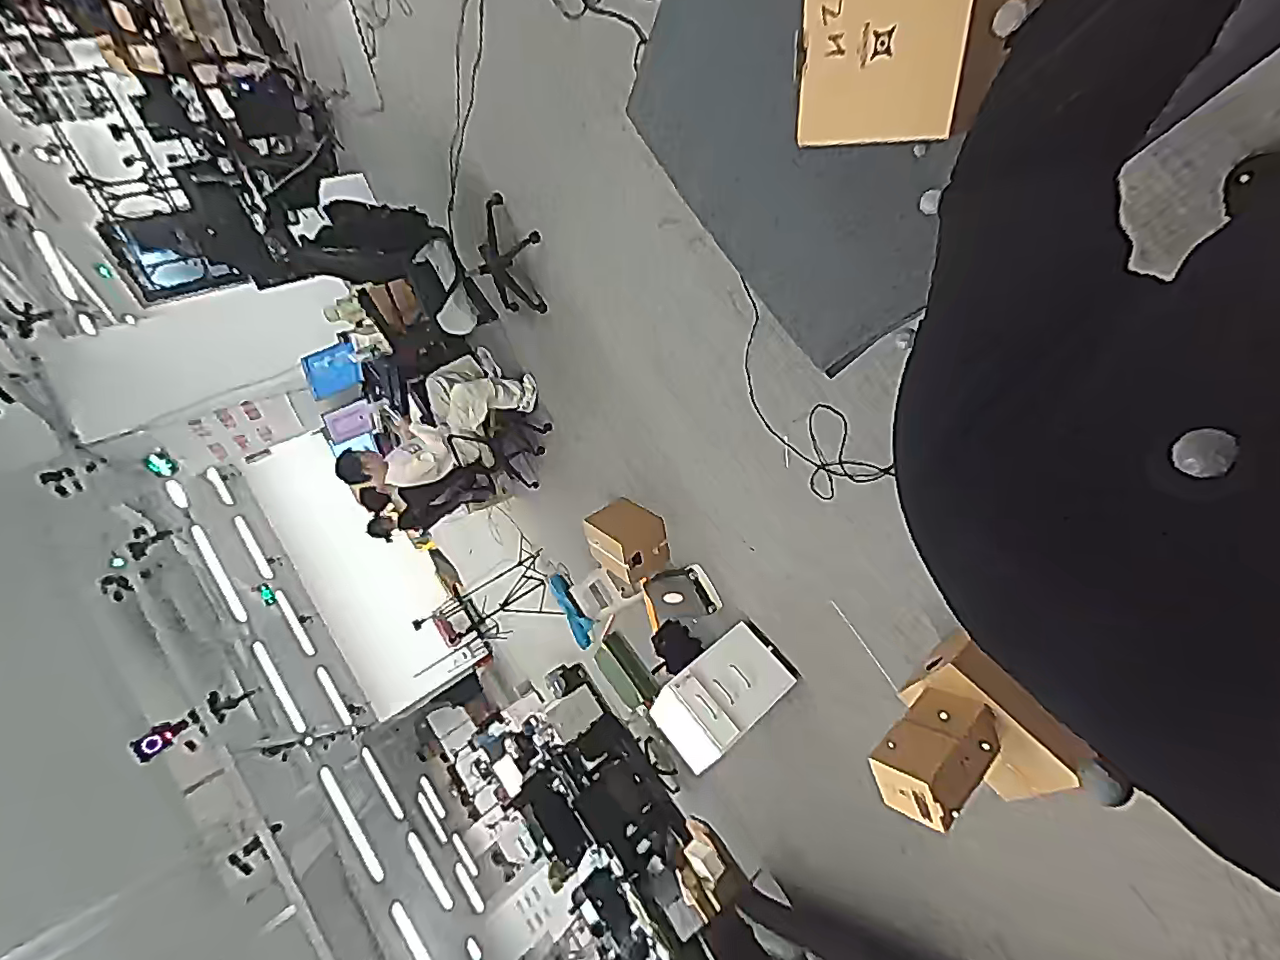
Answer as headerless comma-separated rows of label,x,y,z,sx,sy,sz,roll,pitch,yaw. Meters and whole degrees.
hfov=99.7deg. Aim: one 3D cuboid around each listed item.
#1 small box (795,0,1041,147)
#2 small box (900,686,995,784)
small box,0.287,-0.454,0.561,0.179,0.176,0.168,31,139,42
small box,0.900,0.727,1.569,0.179,0.176,0.168,-6,111,57
